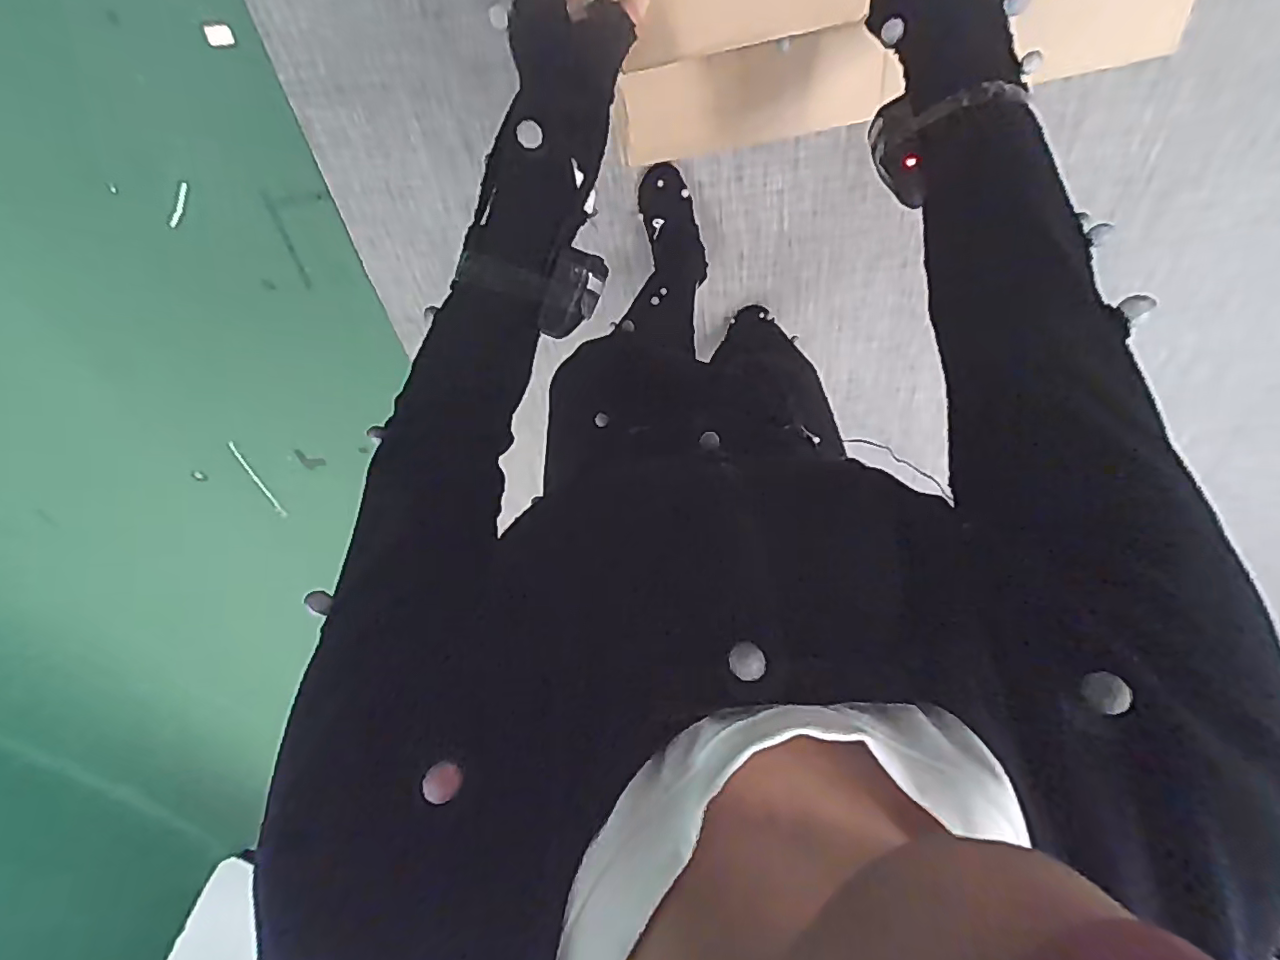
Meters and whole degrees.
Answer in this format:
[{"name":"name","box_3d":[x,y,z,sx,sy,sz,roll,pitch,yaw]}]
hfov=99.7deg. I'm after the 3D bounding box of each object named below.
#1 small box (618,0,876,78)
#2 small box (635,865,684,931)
[{"name":"small box","box_3d":[0.063,-0.419,0.394,0.179,0.176,0.168,-8,130,8]},{"name":"small box","box_3d":[0.072,1.543,2.000,0.168,0.176,0.179,-6,132,5]}]
